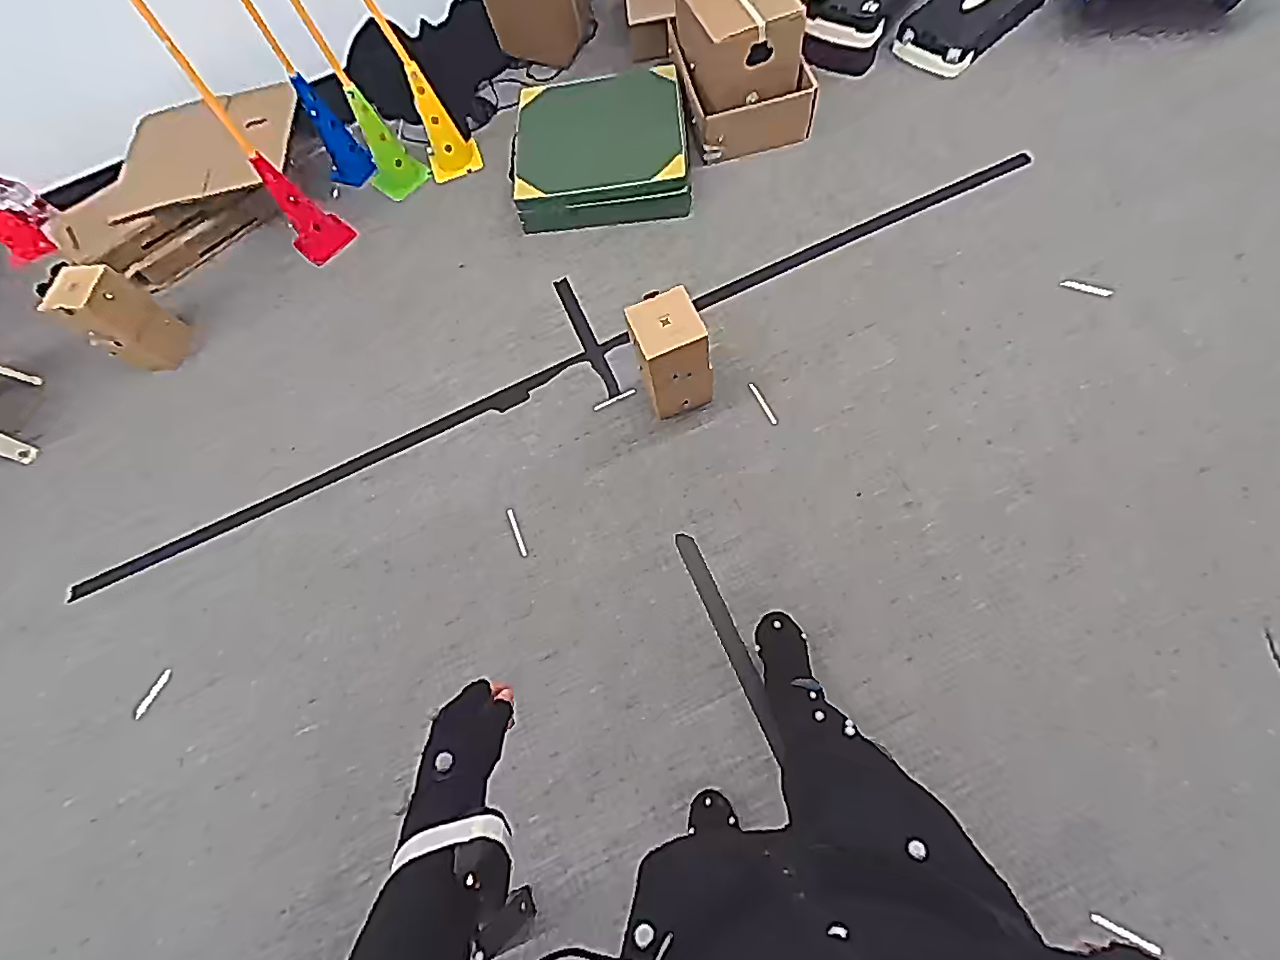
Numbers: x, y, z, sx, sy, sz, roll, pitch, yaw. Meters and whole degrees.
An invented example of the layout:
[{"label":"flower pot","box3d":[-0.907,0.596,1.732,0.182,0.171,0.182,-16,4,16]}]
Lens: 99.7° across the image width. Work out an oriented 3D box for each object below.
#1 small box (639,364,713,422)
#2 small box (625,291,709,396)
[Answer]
[{"label":"small box","box3d":[0.101,-0.298,1.575,0.179,0.176,0.168,-21,65,-2]},{"label":"small box","box3d":[0.074,-0.353,1.424,0.168,0.176,0.179,-22,67,0]}]
